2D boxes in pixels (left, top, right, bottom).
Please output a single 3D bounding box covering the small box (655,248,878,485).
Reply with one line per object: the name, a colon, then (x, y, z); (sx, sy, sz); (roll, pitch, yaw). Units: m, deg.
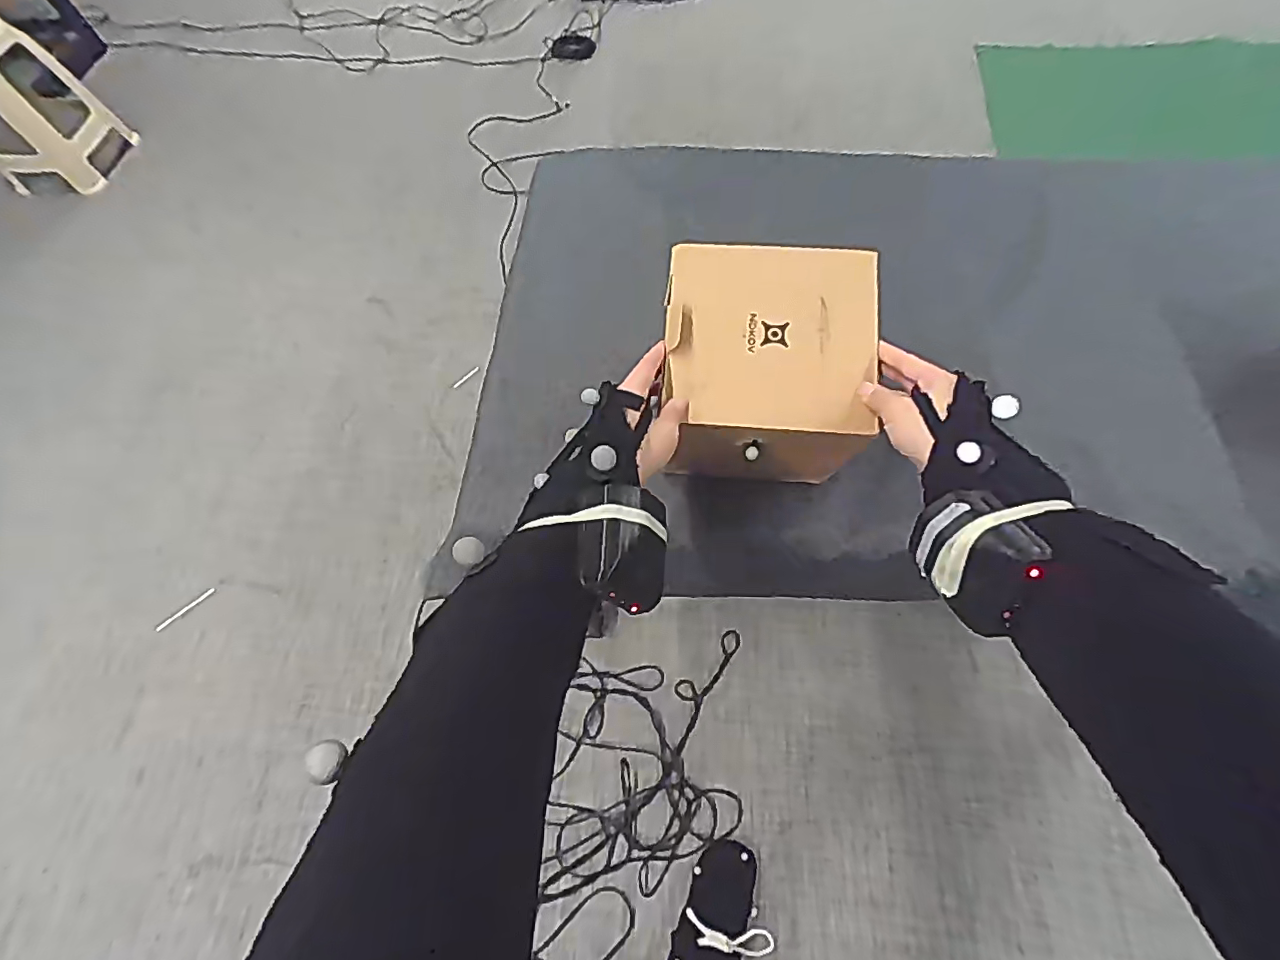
small box: (0.109, -0.096, 0.520); (0.179, 0.176, 0.168); (4, 76, 3)
